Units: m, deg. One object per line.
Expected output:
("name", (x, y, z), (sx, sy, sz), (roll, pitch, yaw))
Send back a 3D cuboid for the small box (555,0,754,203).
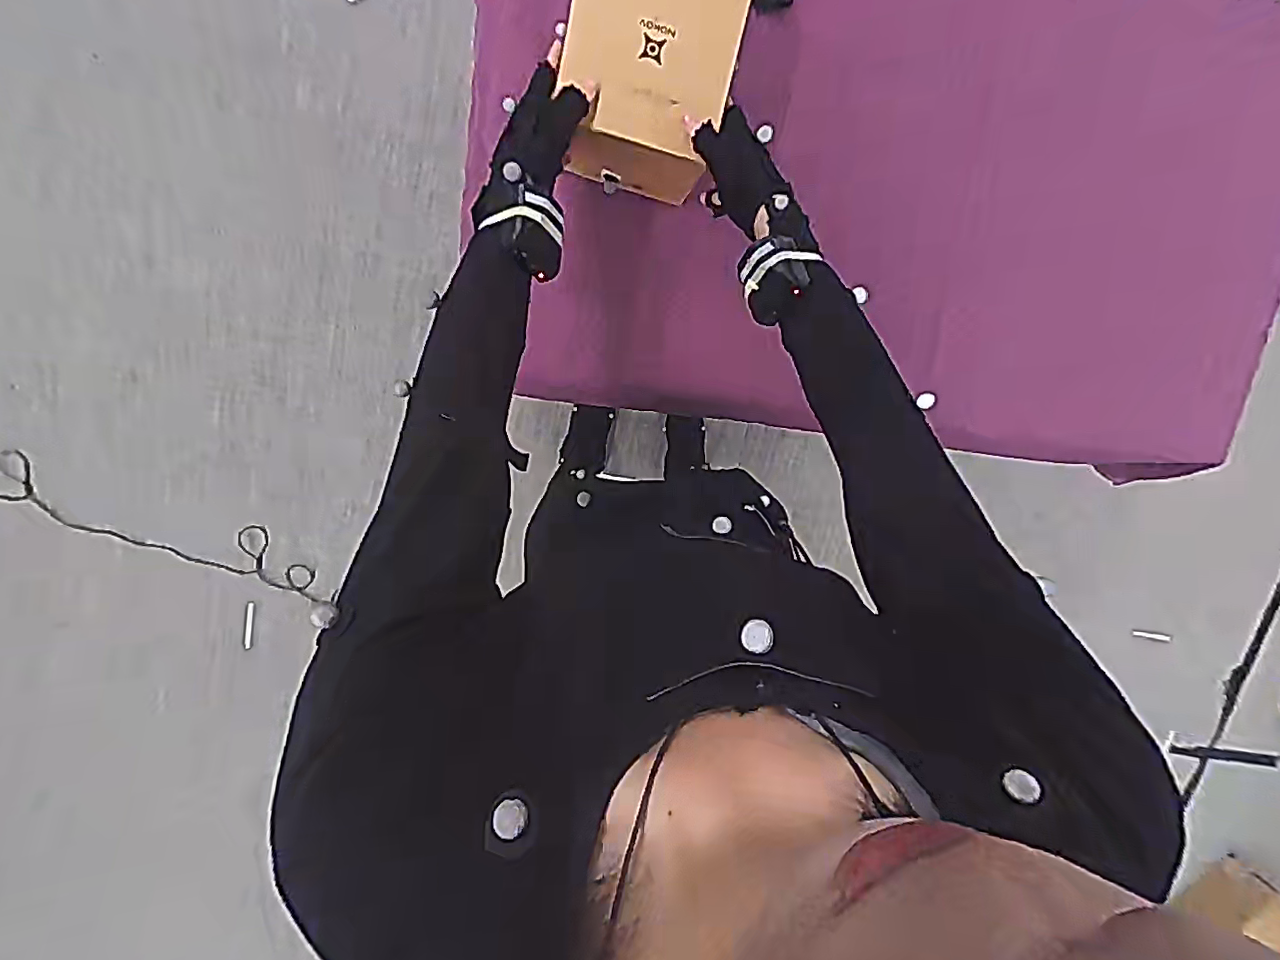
("small box", (0.006, -0.434, 0.591), (0.168, 0.176, 0.179), (12, 102, -9))
